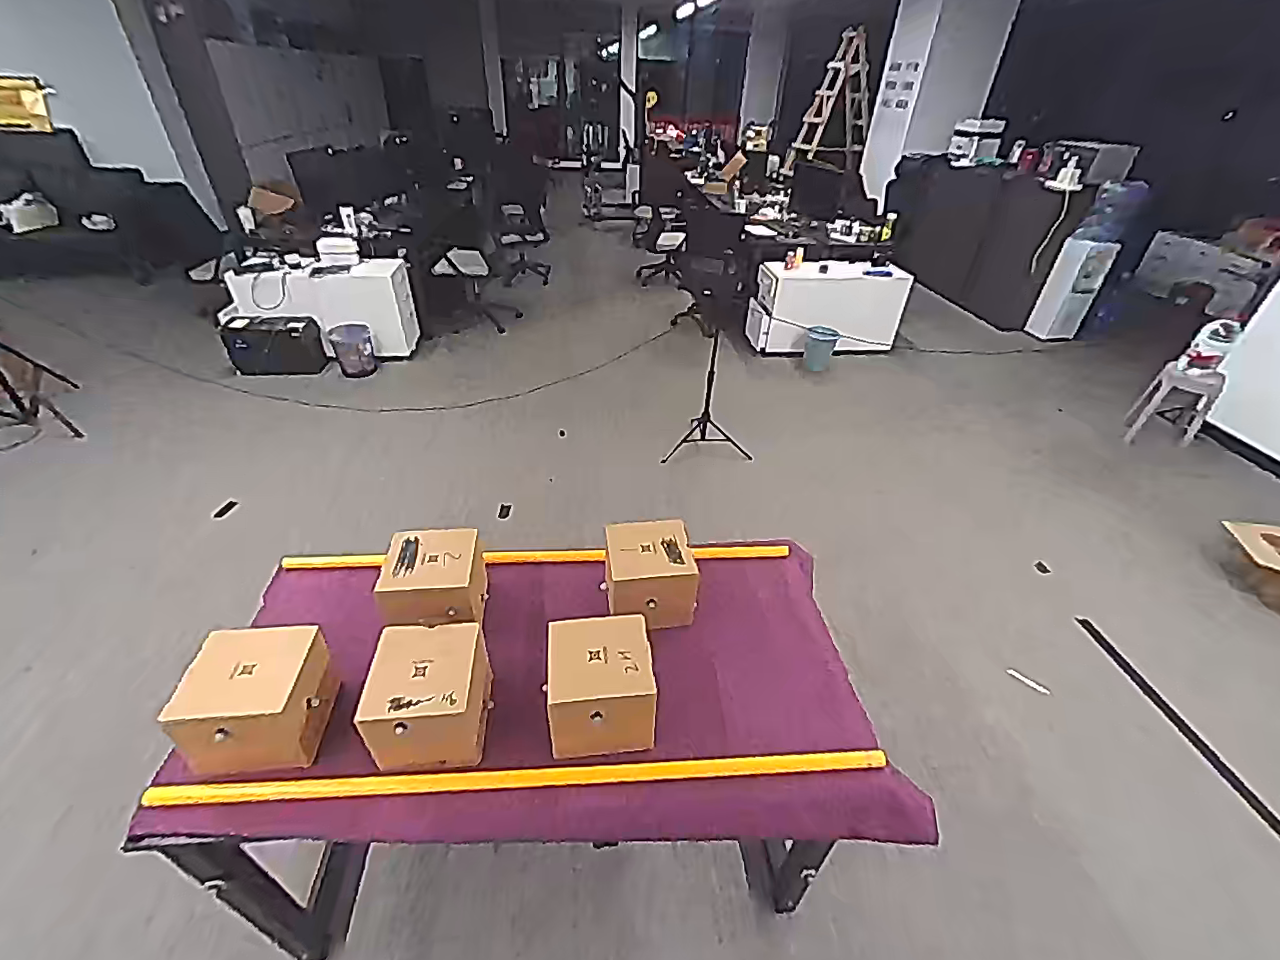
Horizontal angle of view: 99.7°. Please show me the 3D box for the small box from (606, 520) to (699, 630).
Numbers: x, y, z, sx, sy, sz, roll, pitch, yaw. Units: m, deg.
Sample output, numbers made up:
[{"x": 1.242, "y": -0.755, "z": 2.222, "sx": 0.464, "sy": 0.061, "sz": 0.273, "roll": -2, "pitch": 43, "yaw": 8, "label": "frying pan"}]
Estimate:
[{"x": 0.019, "y": 0.208, "z": 1.168, "sx": 0.179, "sy": 0.176, "sz": 0.168, "roll": -4, "pitch": 38, "yaw": -7, "label": "small box"}]

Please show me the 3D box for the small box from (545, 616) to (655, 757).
[{"x": -0.071, "y": 0.364, "z": 0.951, "sx": 0.179, "sy": 0.176, "sz": 0.168, "roll": -2, "pitch": 35, "yaw": -6, "label": "small box"}]

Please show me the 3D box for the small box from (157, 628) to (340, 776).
[{"x": -0.636, "y": 0.372, "z": 0.911, "sx": 0.179, "sy": 0.176, "sz": 0.168, "roll": -2, "pitch": 36, "yaw": -7, "label": "small box"}]

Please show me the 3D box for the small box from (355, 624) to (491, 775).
[{"x": -0.356, "y": 0.372, "z": 0.926, "sx": 0.168, "sy": 0.176, "sz": 0.179, "roll": -2, "pitch": 36, "yaw": -5, "label": "small box"}]
